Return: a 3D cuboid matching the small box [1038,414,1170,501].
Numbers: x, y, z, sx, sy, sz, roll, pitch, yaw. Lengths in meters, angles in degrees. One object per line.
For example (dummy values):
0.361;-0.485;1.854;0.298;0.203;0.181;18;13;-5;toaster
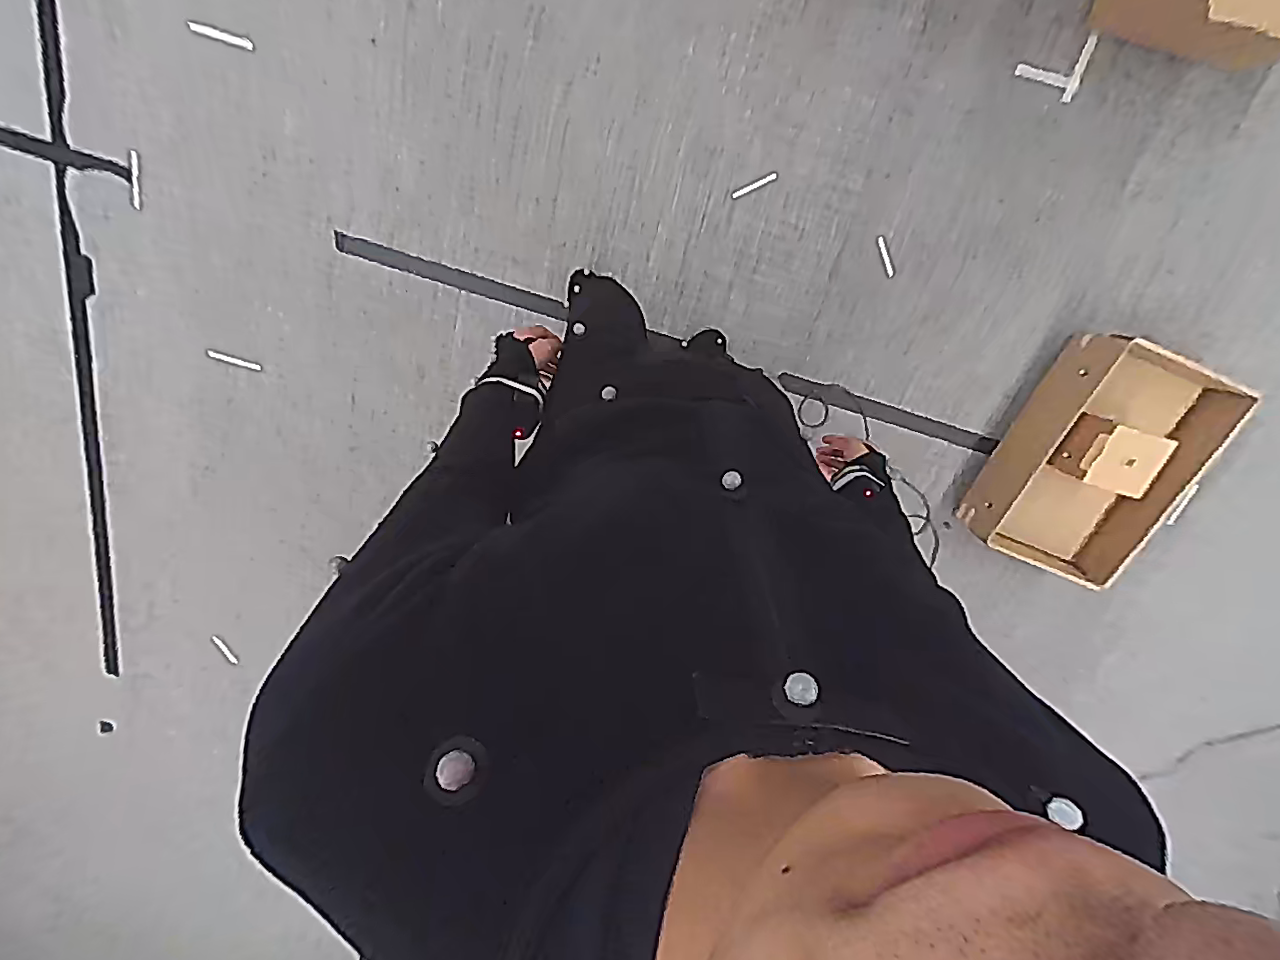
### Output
1.246;-0.069;1.470;0.179;0.176;0.168;16;111;-4;small box
